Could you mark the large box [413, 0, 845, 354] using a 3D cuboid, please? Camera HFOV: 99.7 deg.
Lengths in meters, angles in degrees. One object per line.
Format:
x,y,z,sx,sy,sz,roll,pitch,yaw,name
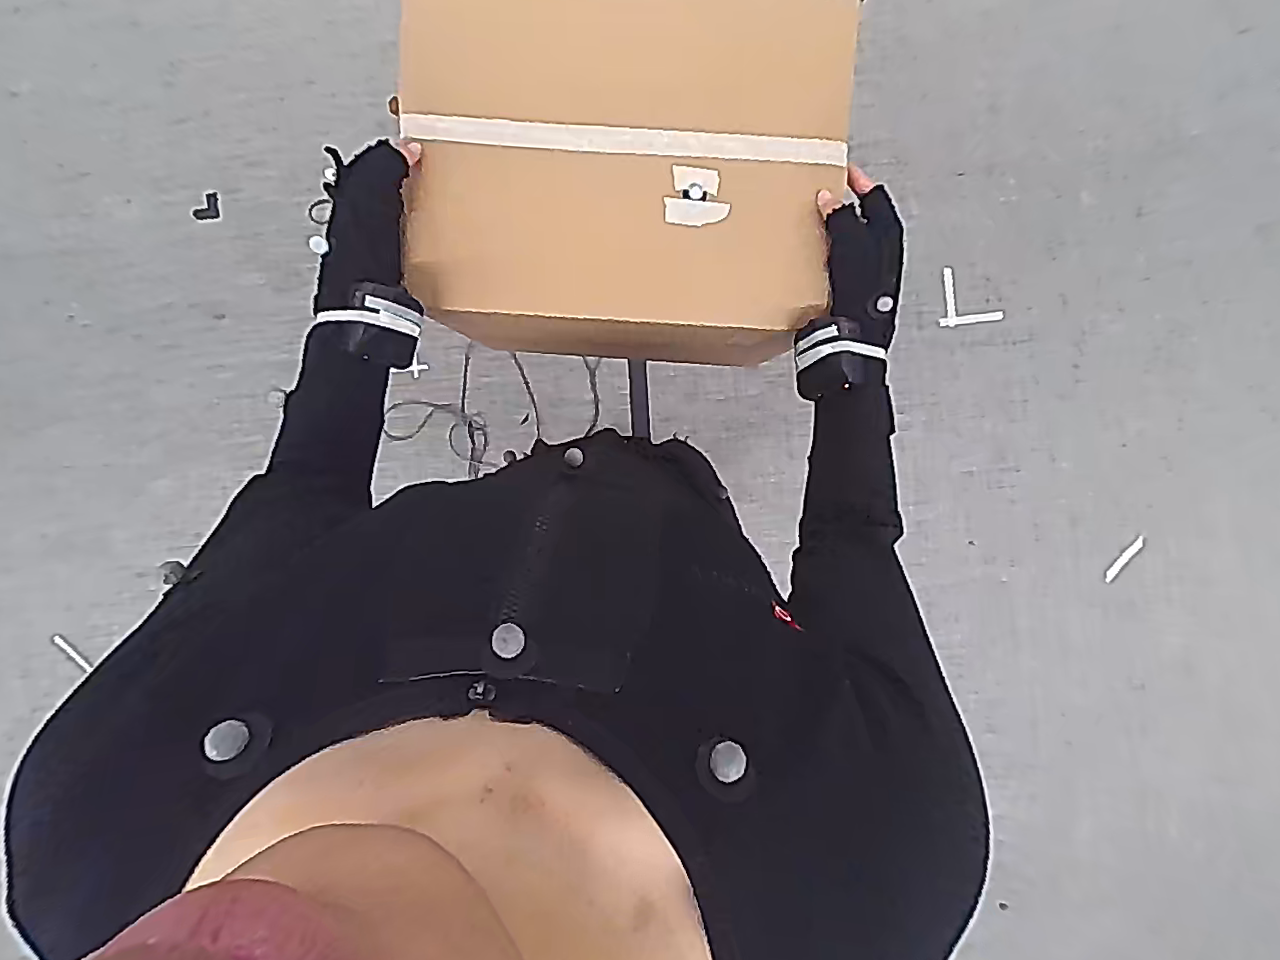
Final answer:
-0.018,-0.332,0.657,0.408,0.320,0.320,2,97,-2,large box
